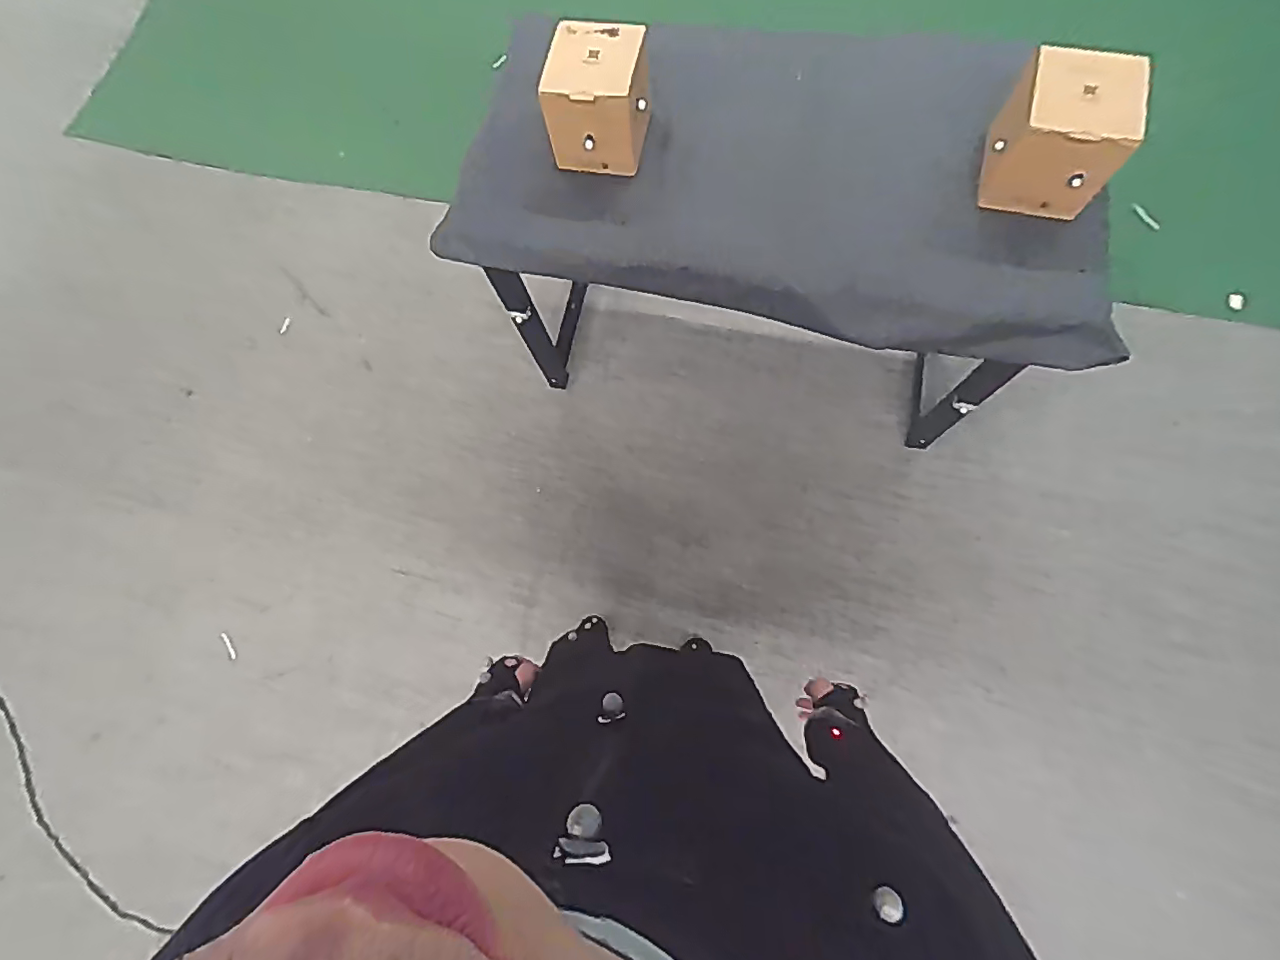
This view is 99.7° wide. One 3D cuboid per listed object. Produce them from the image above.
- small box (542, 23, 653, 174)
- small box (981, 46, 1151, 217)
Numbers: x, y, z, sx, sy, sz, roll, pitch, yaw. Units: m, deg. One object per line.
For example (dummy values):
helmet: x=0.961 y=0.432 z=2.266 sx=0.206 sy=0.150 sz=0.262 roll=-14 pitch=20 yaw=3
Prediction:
small box: x=-0.072 y=-0.726 z=1.042 sx=0.168 sy=0.176 sz=0.179 roll=10 pitch=76 yaw=7
small box: x=0.715 y=-0.586 z=0.925 sx=0.168 sy=0.176 sz=0.179 roll=14 pitch=75 yaw=8
